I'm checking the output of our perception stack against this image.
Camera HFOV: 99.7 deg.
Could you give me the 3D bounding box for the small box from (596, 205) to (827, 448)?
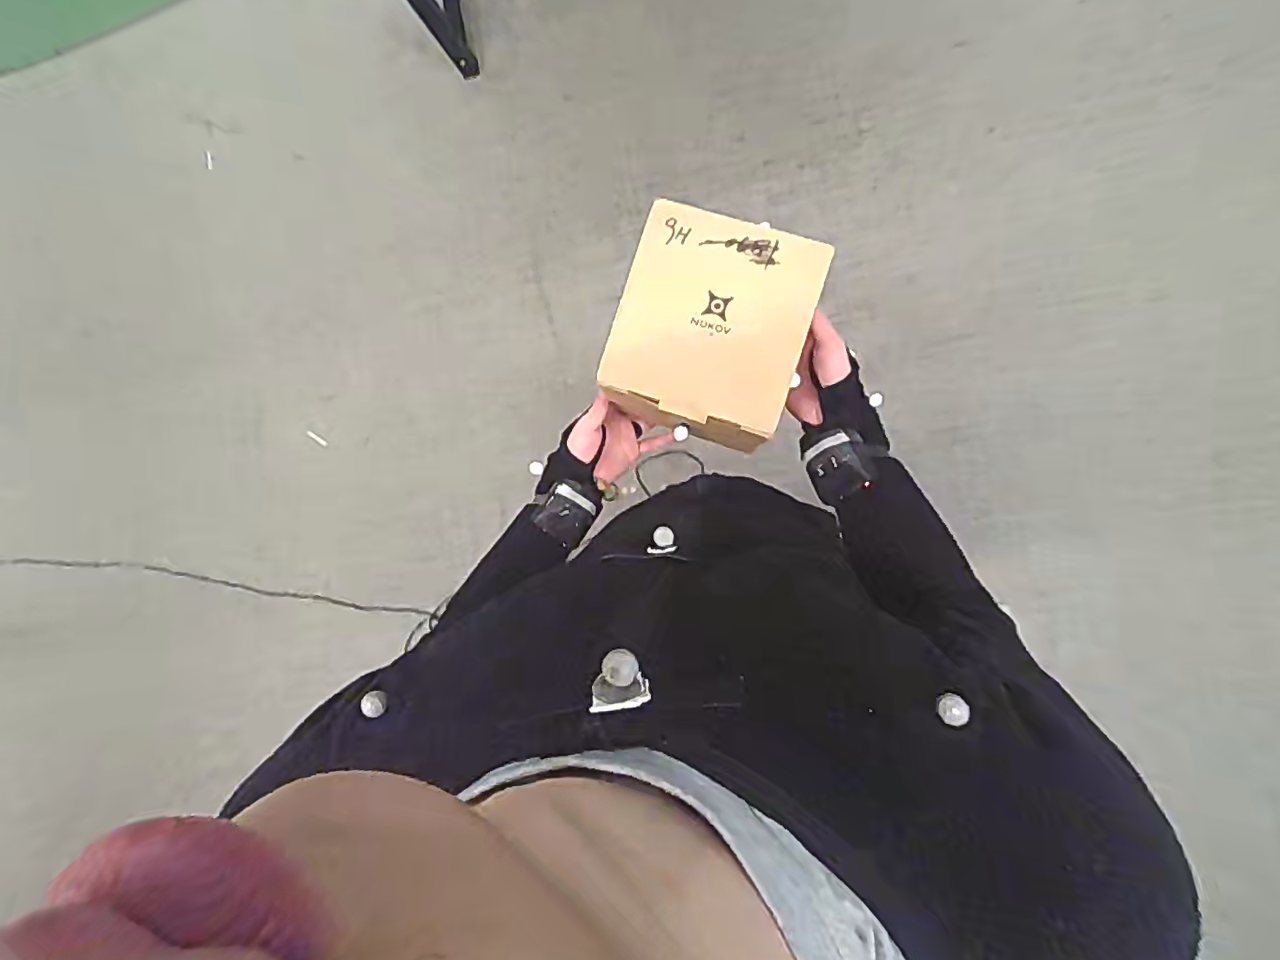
[{"bbox_3d":[0.070,-0.139,0.557,0.168,0.176,0.179,18,90,5],"label":"small box"}]
